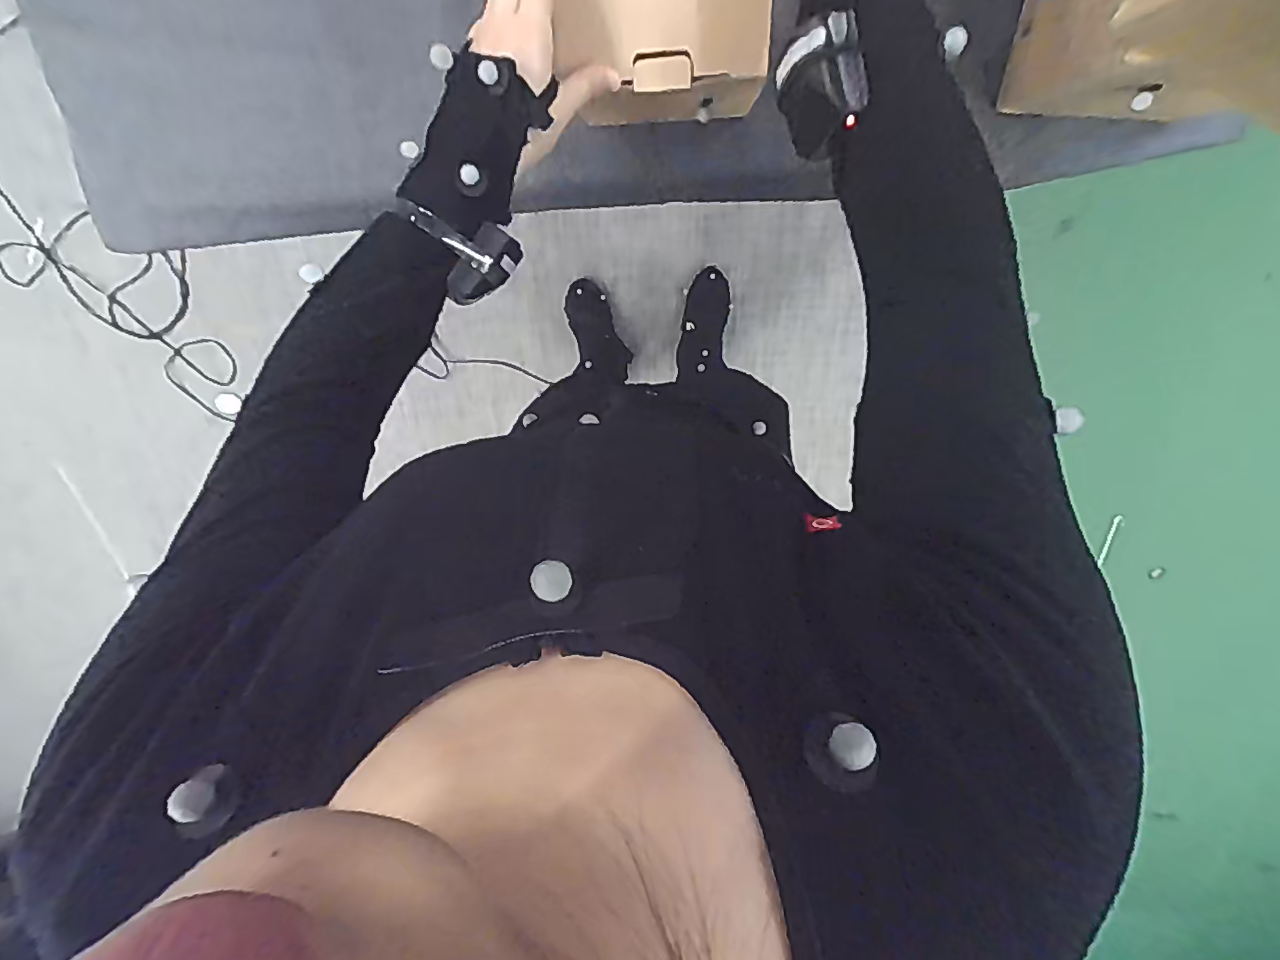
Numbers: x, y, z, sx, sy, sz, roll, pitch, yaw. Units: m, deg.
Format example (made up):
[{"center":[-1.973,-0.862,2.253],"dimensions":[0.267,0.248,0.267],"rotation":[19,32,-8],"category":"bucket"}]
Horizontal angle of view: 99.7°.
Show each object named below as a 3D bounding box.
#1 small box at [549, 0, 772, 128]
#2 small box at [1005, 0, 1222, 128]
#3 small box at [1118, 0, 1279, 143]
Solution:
[{"center":[0.019,-0.408,0.452],"dimensions":[0.168,0.176,0.179],"rotation":[-1,114,4],"category":"small box"},{"center":[0.435,-0.389,0.425],"dimensions":[0.179,0.176,0.168],"rotation":[5,115,3],"category":"small box"},{"center":[0.428,-0.307,0.284],"dimensions":[0.179,0.176,0.168],"rotation":[23,114,-7],"category":"small box"}]
